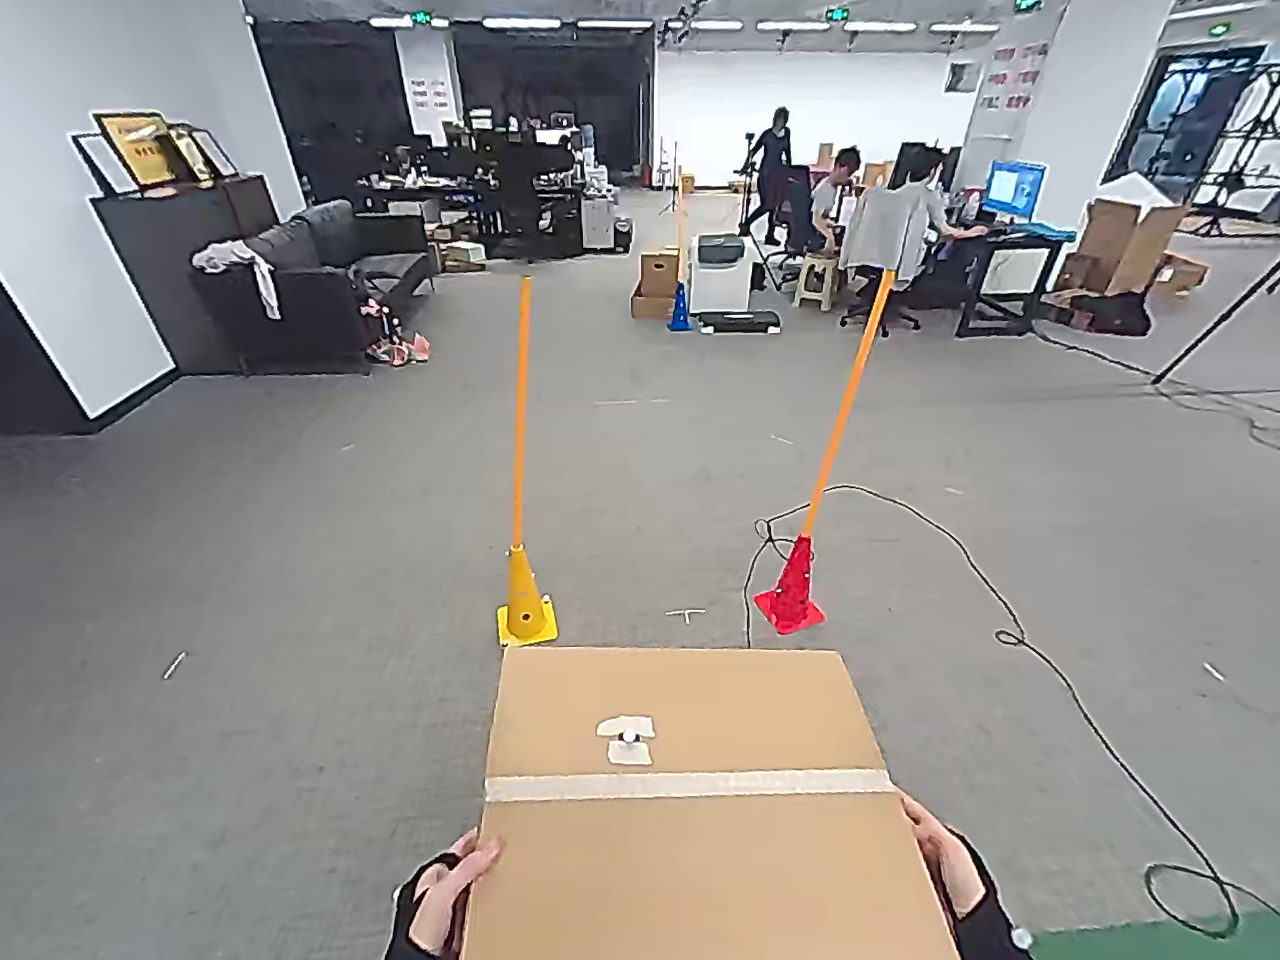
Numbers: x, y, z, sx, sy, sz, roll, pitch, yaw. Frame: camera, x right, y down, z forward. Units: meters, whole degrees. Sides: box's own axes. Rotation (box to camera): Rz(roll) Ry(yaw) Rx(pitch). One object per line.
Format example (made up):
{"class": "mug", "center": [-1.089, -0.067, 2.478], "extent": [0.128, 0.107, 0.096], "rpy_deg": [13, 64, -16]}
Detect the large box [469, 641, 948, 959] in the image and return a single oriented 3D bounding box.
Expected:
{"class": "large box", "center": [0.043, 0.411, 0.637], "extent": [0.408, 0.320, 0.320], "rpy_deg": [2, 39, -6]}
